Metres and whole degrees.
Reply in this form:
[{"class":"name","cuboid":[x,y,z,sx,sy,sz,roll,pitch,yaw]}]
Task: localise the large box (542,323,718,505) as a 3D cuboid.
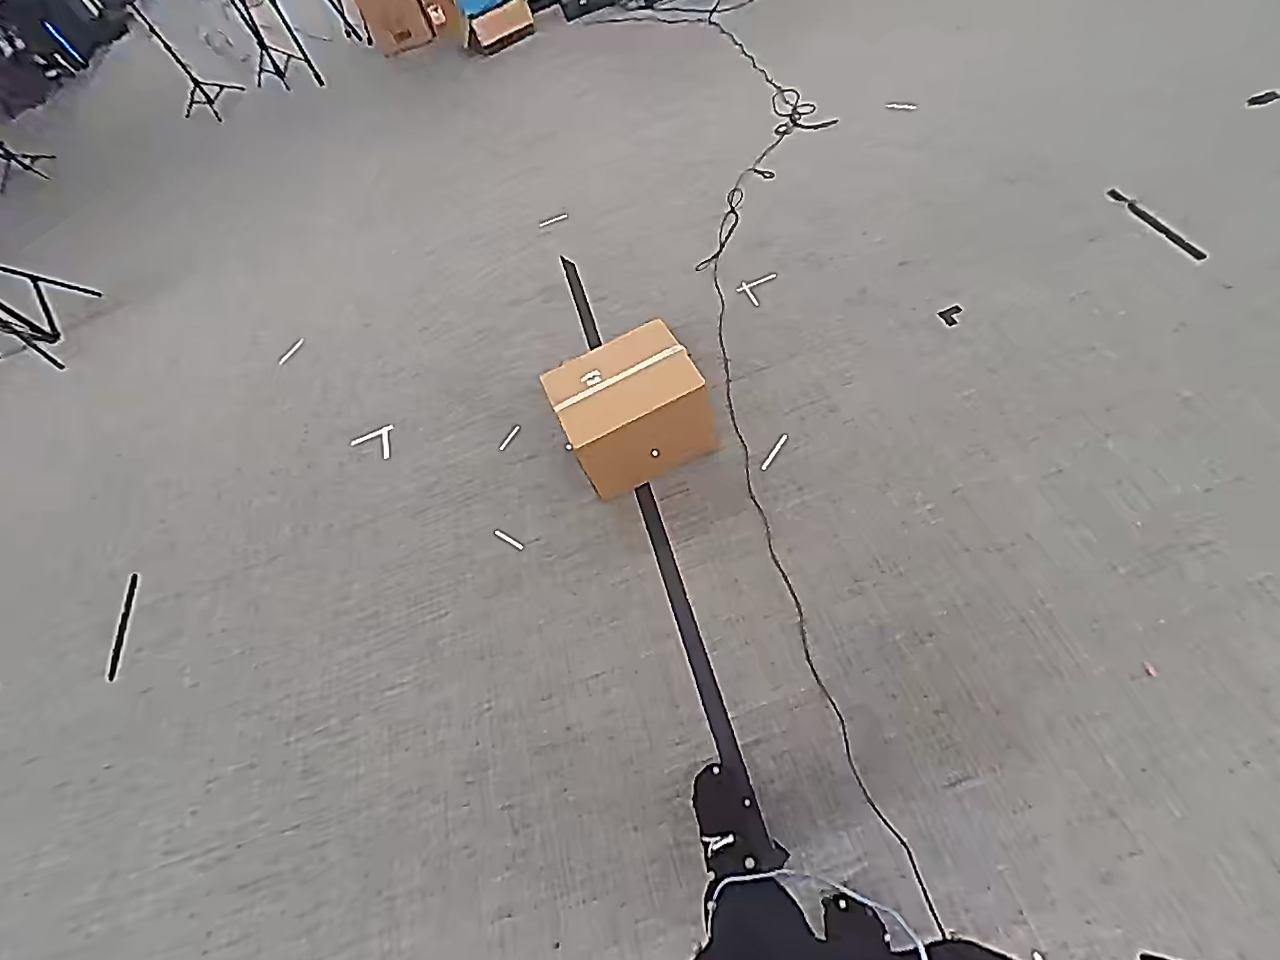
[{"class":"large box","cuboid":[-0.022,-0.192,1.644,0.408,0.320,0.320,-28,55,-1]}]
